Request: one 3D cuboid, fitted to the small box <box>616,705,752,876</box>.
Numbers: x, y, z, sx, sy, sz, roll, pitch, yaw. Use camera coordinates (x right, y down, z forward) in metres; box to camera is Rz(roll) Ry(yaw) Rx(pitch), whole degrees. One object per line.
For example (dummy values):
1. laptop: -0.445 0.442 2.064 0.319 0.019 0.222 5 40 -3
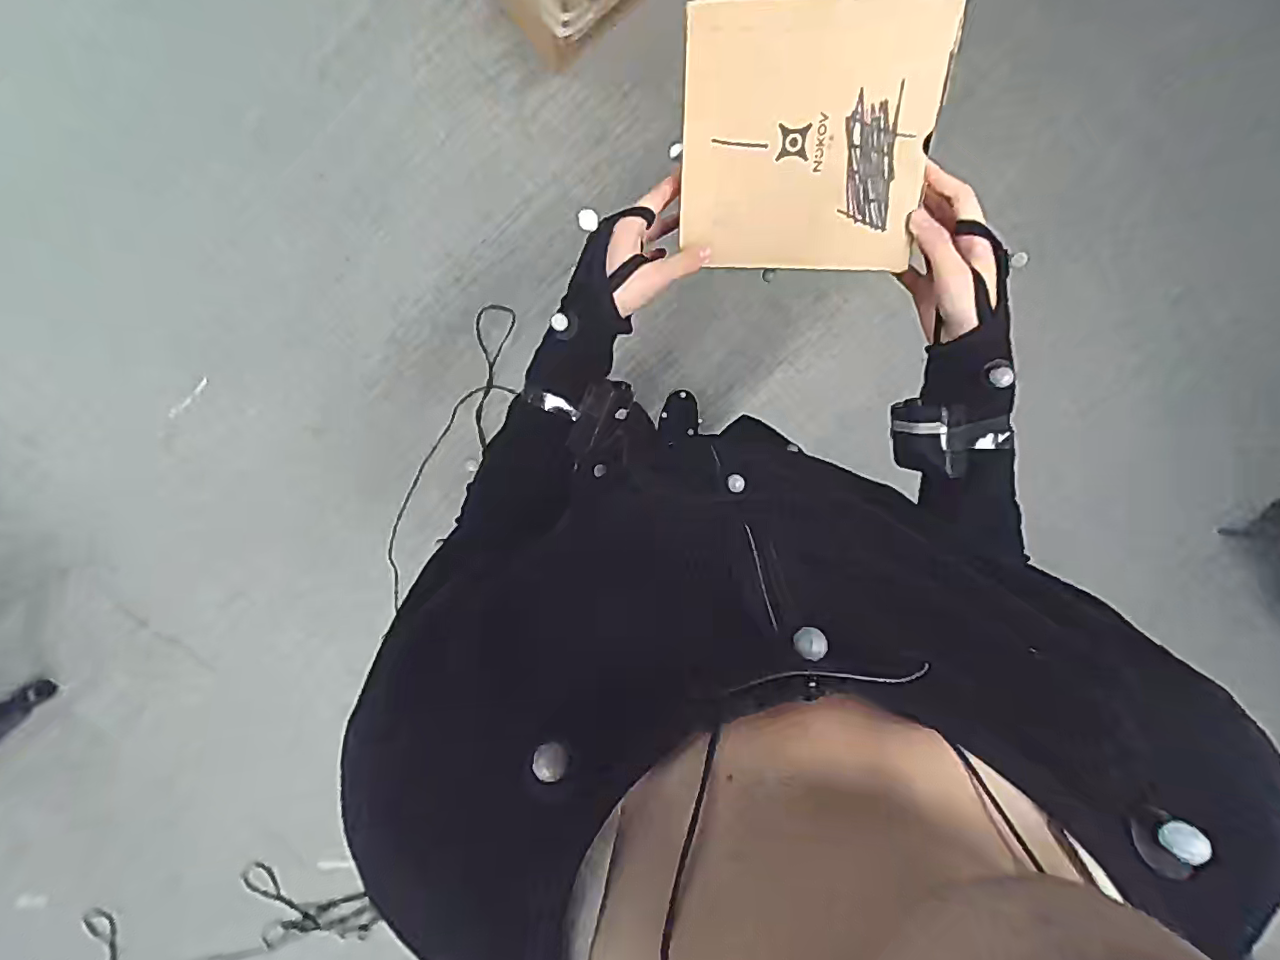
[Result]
1. small box: 0.073 0.558 0.995 0.168 0.176 0.179 -45 95 2
